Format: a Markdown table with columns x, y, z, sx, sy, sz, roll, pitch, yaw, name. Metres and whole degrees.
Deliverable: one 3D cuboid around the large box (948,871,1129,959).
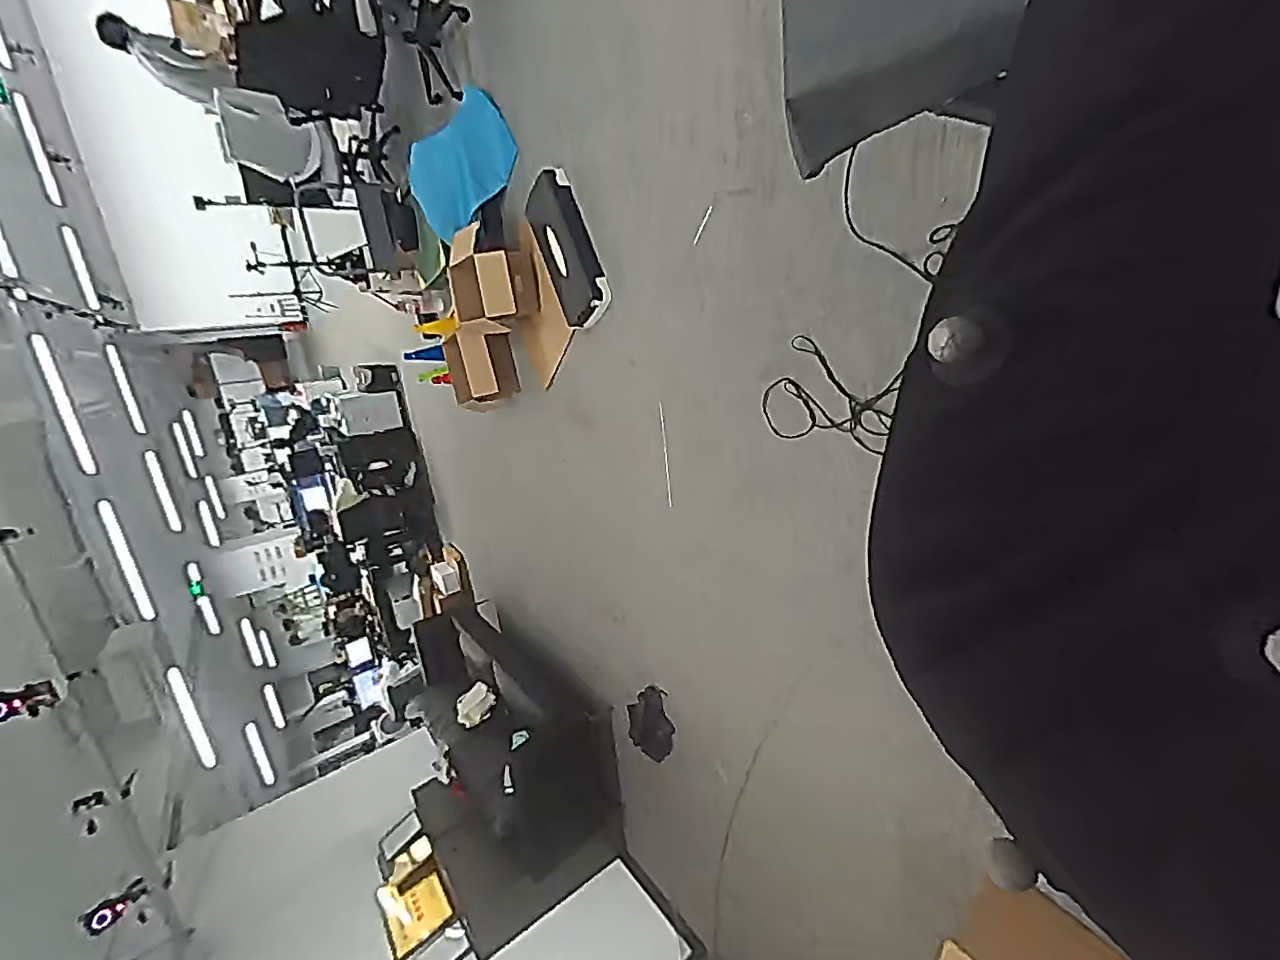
| x | y | z | sx | sy | sz | roll | pitch | yaw | name |
| --- | --- | --- | --- | --- | --- | --- | --- | --- | --- |
| 1.038 | 1.324 | 1.350 | 0.408 | 0.320 | 0.320 | 26 | 124 | 49 | large box |
